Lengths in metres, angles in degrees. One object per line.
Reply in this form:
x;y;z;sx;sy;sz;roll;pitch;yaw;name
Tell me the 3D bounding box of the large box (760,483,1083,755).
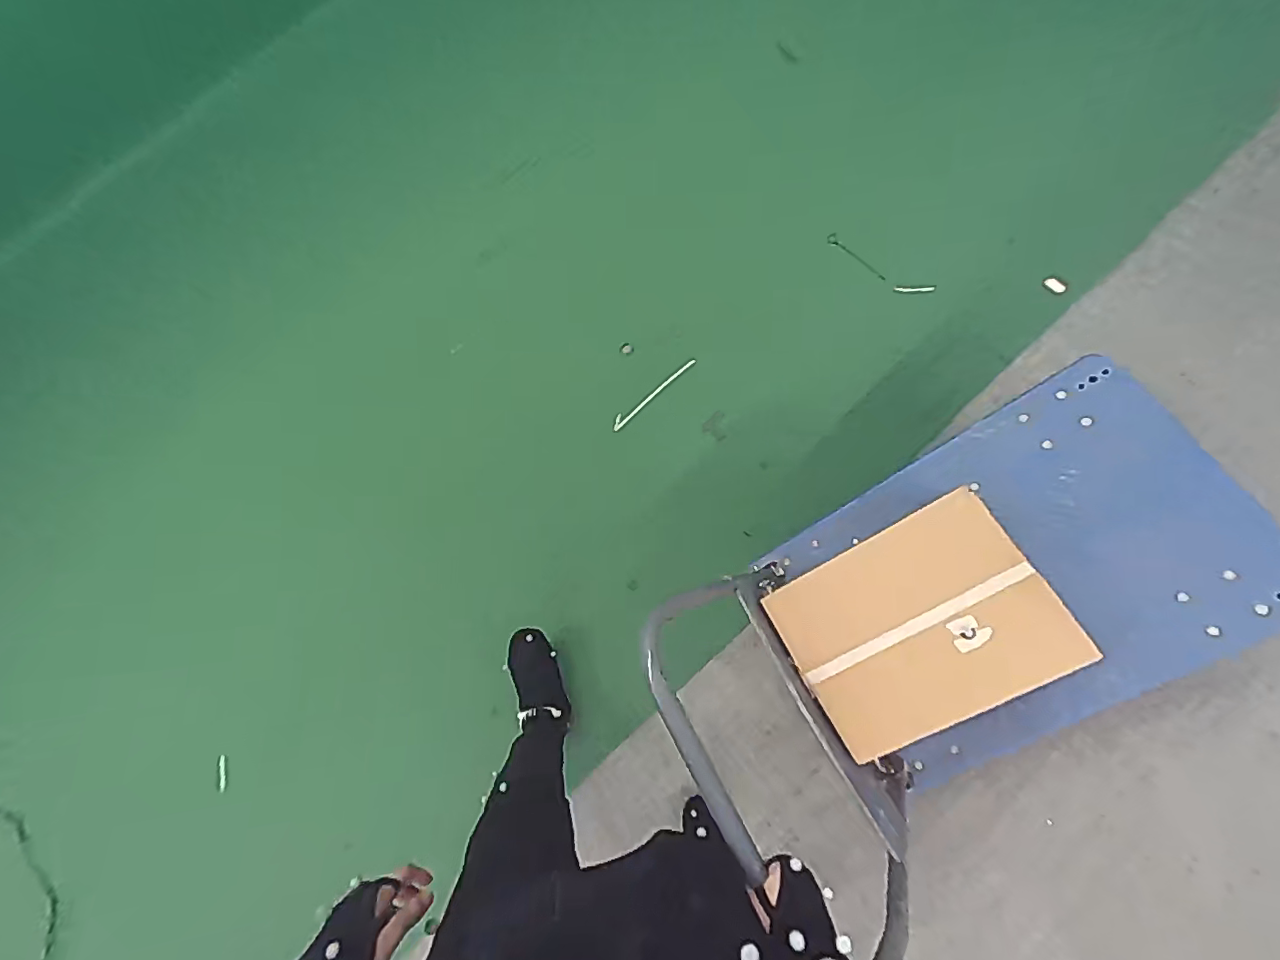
0.505;0.260;1.052;0.408;0.320;0.320;-34;72;14;large box
